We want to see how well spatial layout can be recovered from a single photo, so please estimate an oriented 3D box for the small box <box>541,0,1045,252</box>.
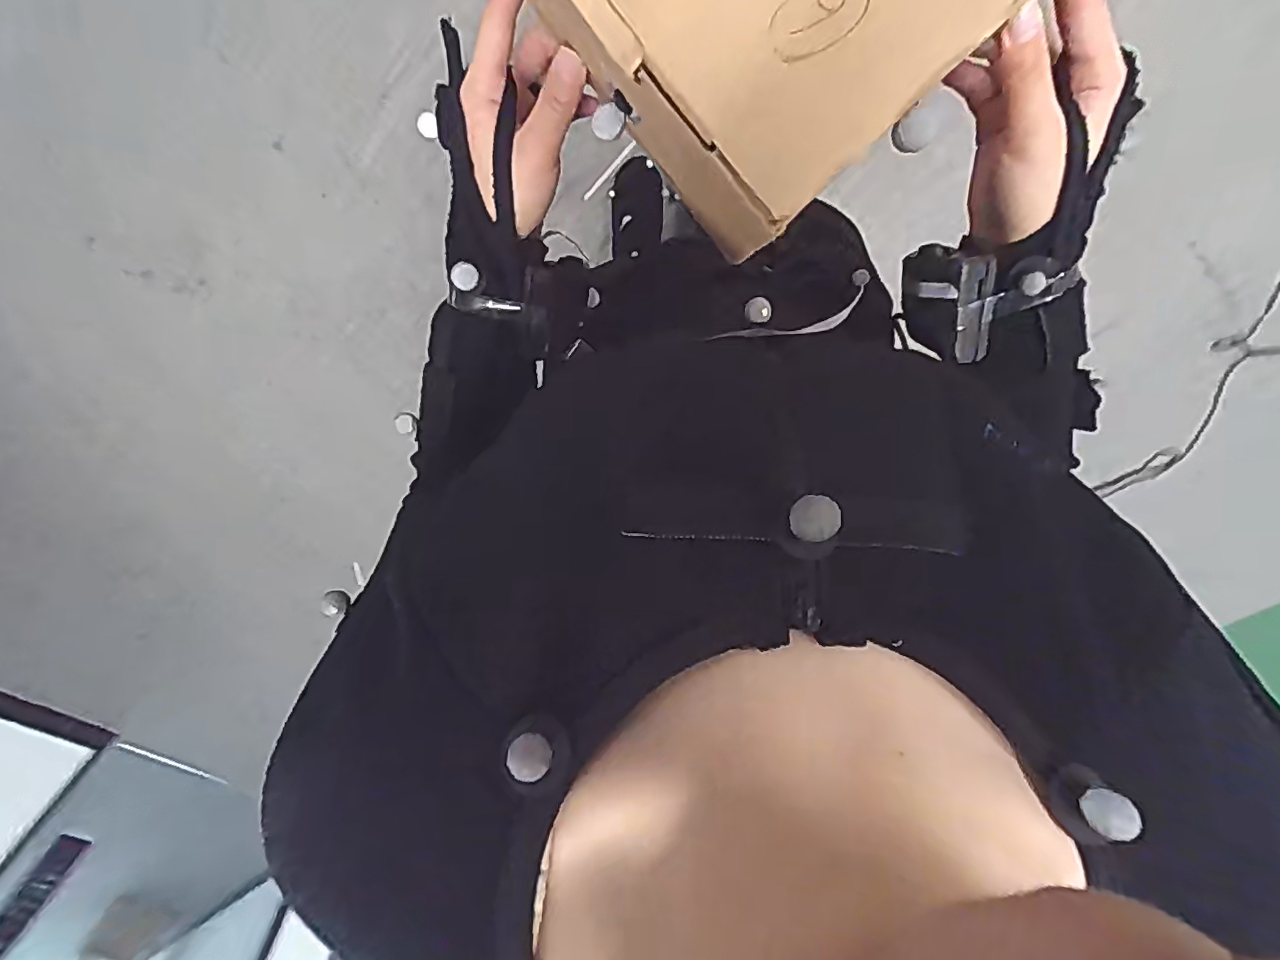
[{"bbox_3d":[0.057,-0.208,0.199,0.179,0.176,0.168,-38,101,18],"label":"small box"}]
